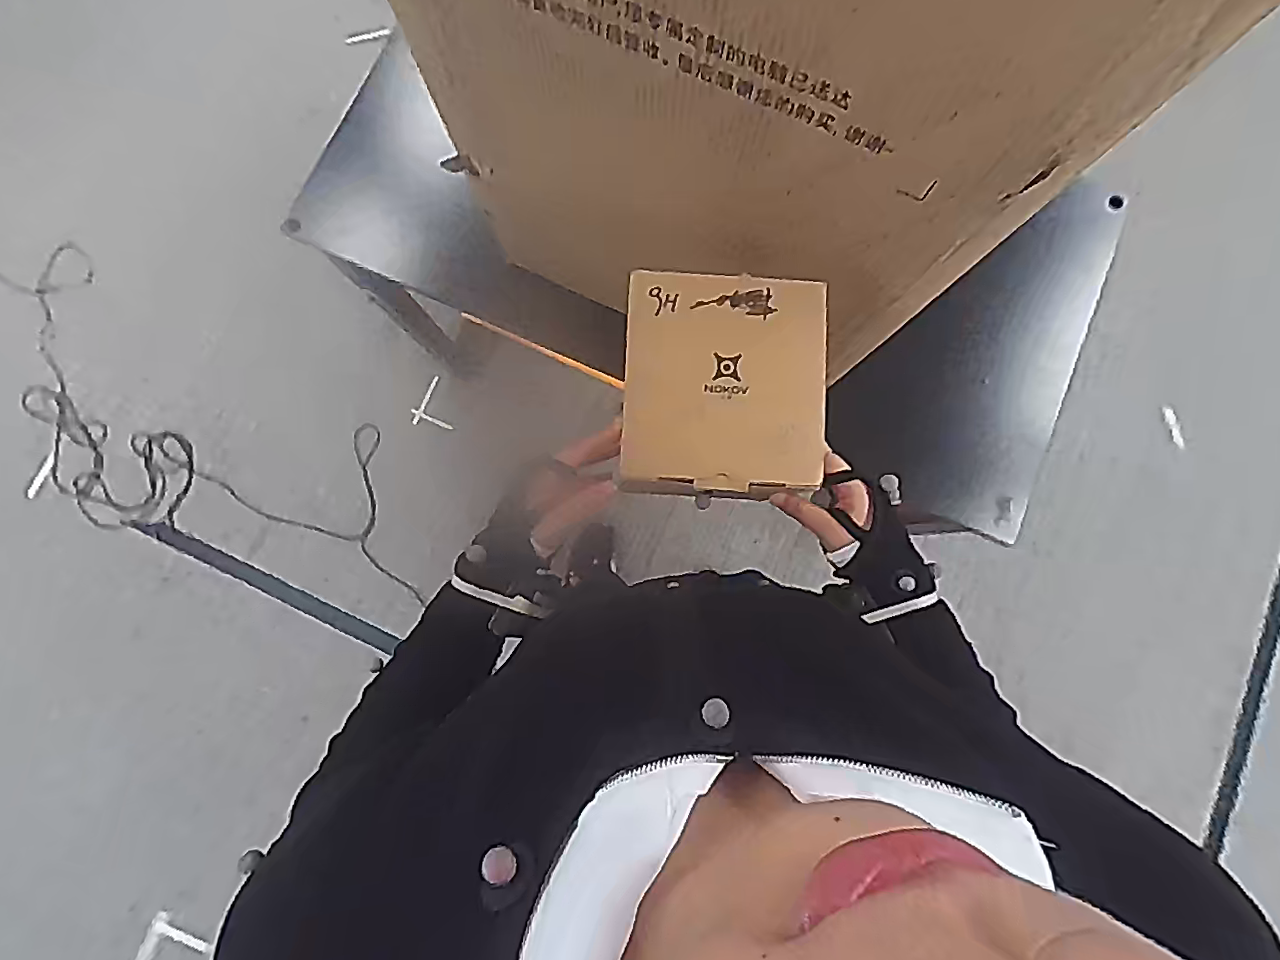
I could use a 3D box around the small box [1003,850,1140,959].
[{"bbox_3d":[1.048,1.056,1.325,0.179,0.176,0.168,22,82,3],"label":"small box"}]
